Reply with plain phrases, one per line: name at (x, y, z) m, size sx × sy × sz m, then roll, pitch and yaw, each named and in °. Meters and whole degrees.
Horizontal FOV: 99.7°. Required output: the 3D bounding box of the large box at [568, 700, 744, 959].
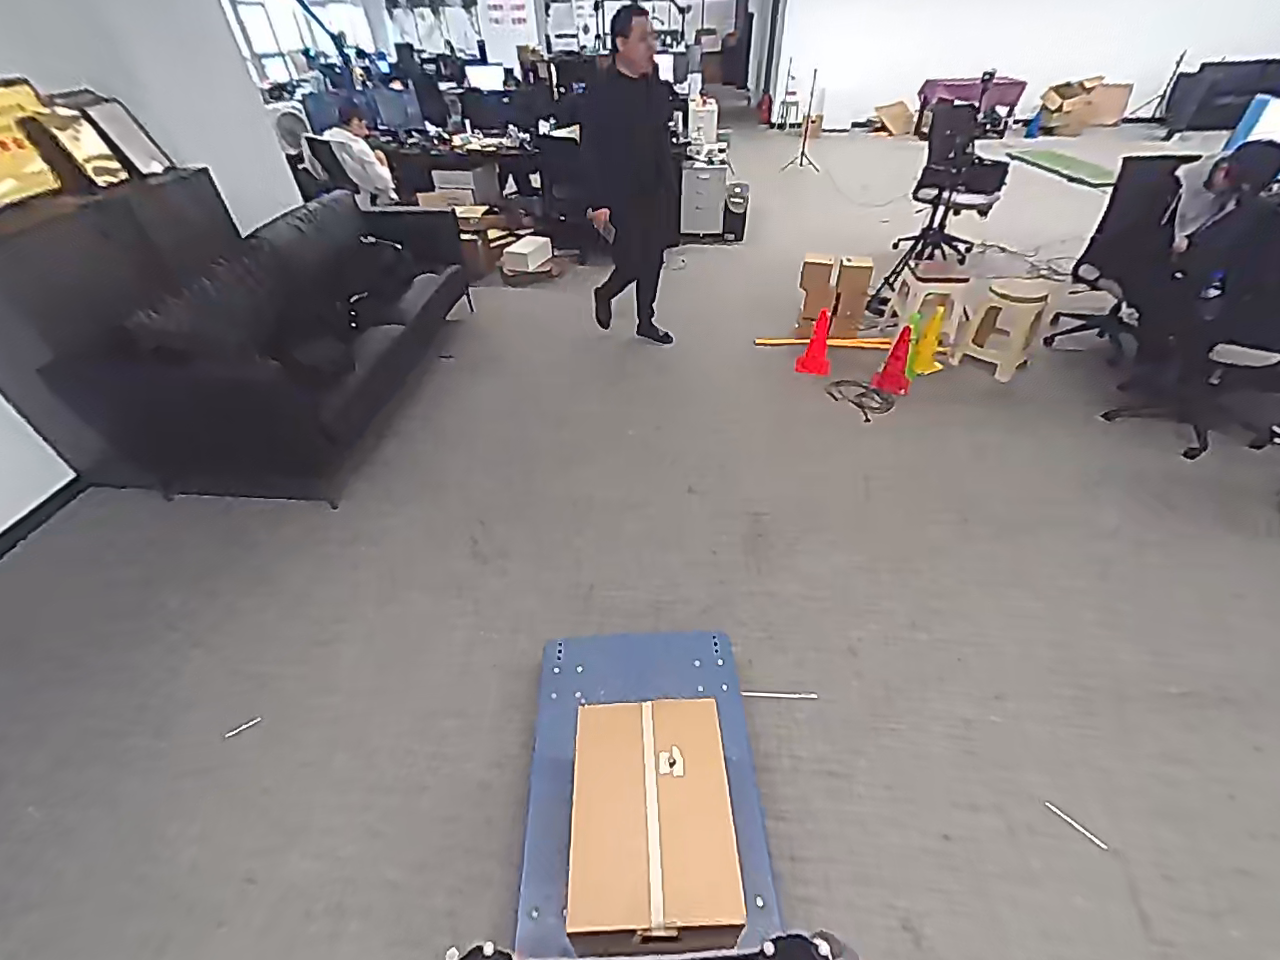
large box at (0.026, 0.754, 1.176) m, size 0.320 × 0.320 × 0.408 m, roll -3°, pitch 40°, yaw -1°
